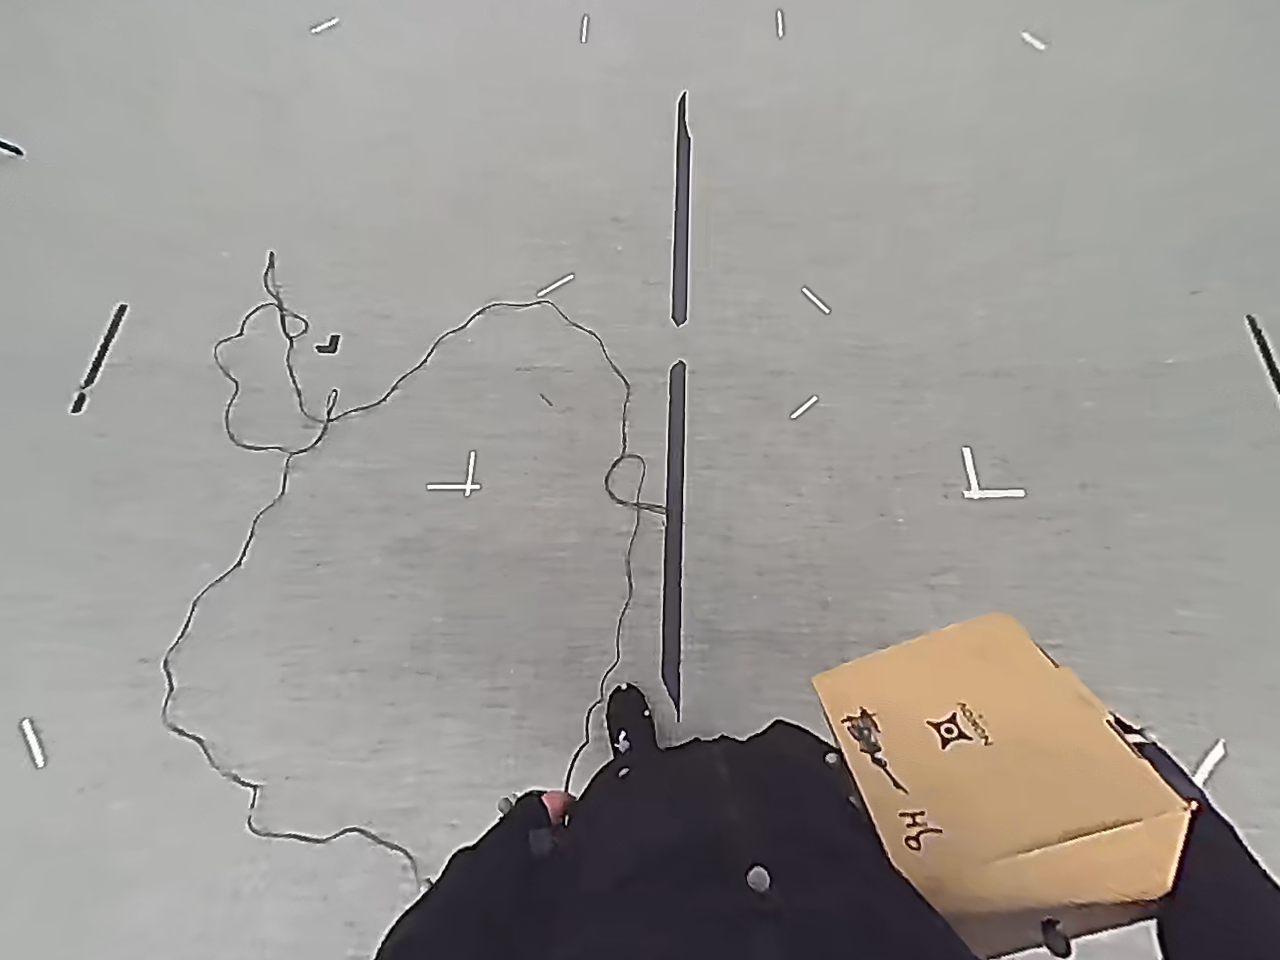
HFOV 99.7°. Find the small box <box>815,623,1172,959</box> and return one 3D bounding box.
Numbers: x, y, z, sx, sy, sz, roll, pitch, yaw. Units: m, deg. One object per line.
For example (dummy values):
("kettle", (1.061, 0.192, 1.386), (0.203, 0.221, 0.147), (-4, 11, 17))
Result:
("small box", (0.272, 0.257, 0.451), (0.179, 0.176, 0.168), (-22, 30, 8))
